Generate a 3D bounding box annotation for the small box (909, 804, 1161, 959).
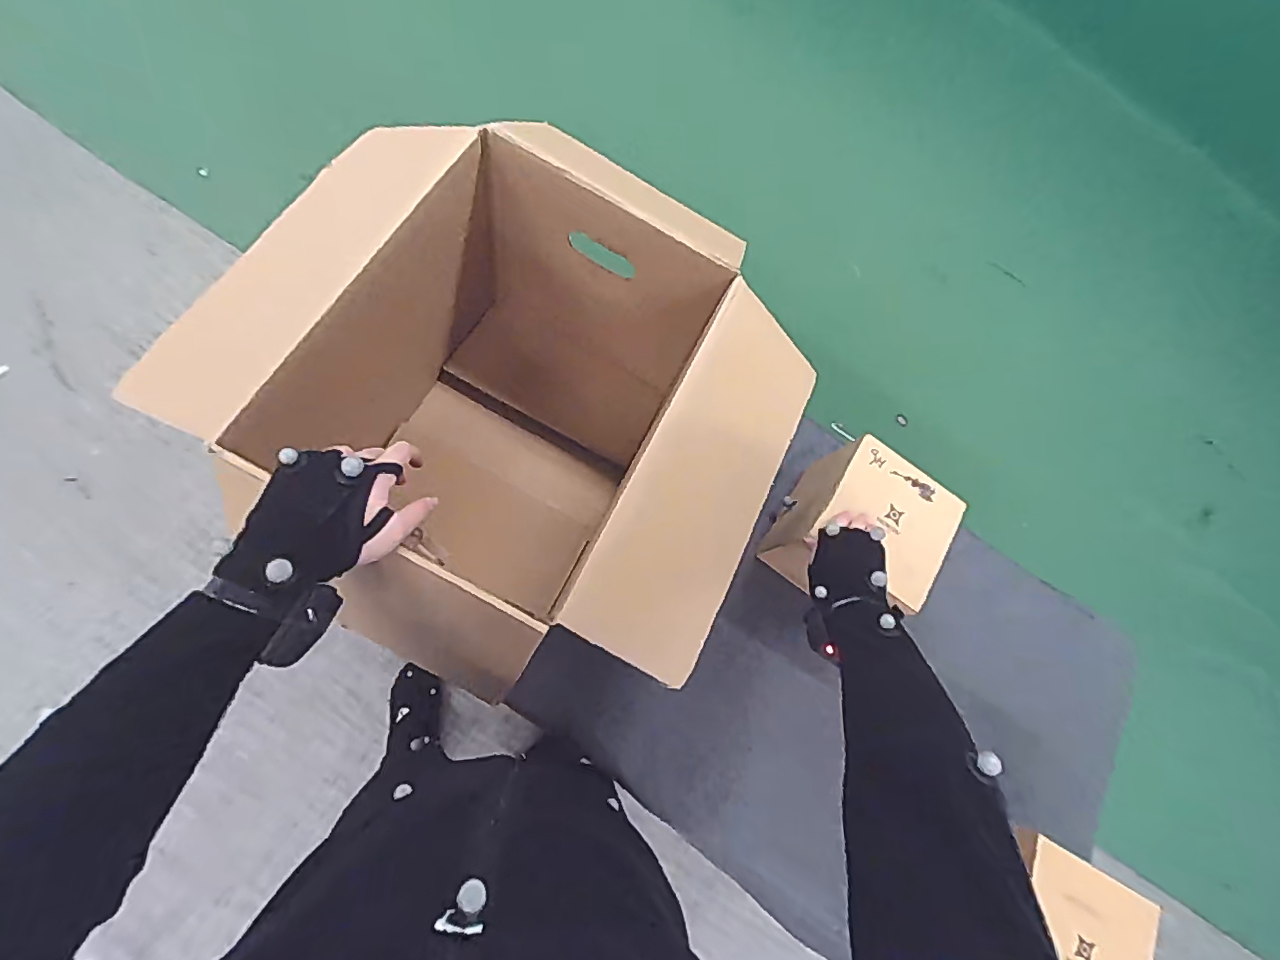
[{"bbox_3d":[0.464,0.539,0.658,0.168,0.176,0.179,32,69,-1],"label":"small box"}]
